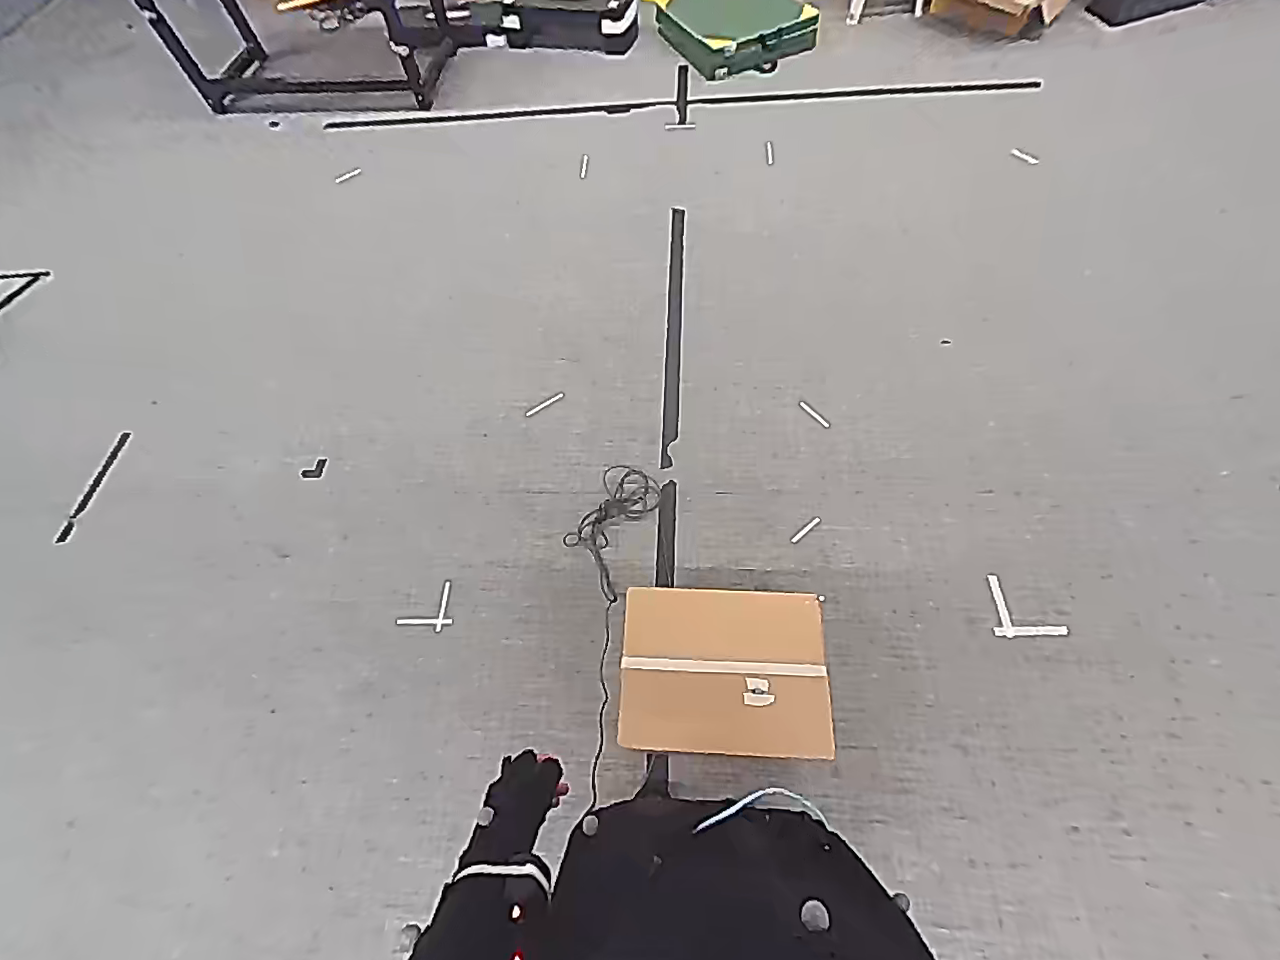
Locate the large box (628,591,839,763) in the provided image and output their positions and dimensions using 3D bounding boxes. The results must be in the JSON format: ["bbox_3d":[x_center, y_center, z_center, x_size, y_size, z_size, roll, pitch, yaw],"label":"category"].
[{"bbox_3d":[0.185,0.450,1.211,0.408,0.320,0.320,2,63,4],"label":"large box"}]
